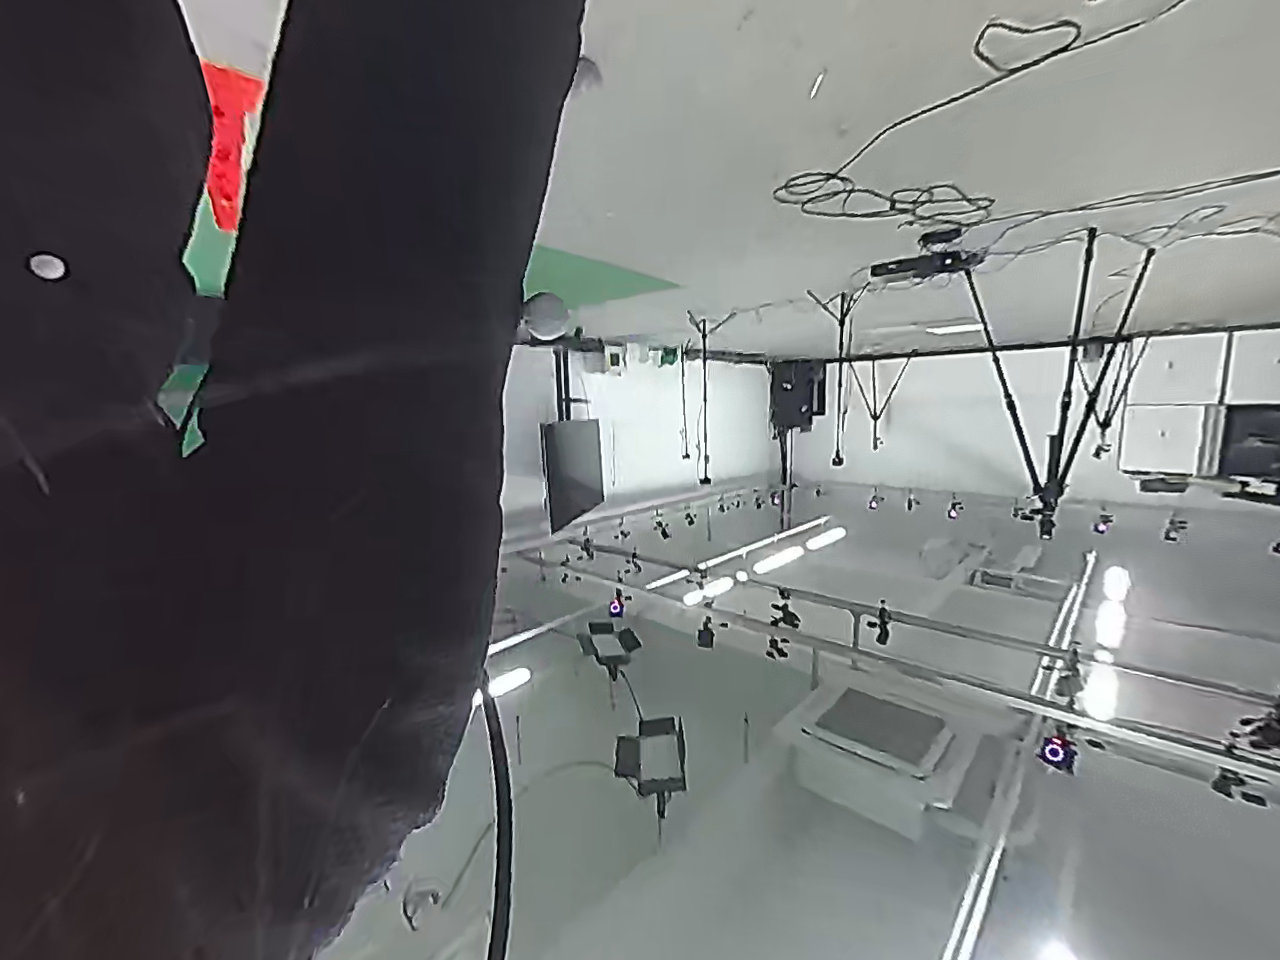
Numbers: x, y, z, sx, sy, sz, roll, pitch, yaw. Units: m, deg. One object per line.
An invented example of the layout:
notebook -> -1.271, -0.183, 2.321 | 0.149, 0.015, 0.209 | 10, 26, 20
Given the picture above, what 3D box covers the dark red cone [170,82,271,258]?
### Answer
dark red cone -> -1.070, -0.790, 1.408 | 0.202, 0.394, 0.201 | -8, -168, -40
